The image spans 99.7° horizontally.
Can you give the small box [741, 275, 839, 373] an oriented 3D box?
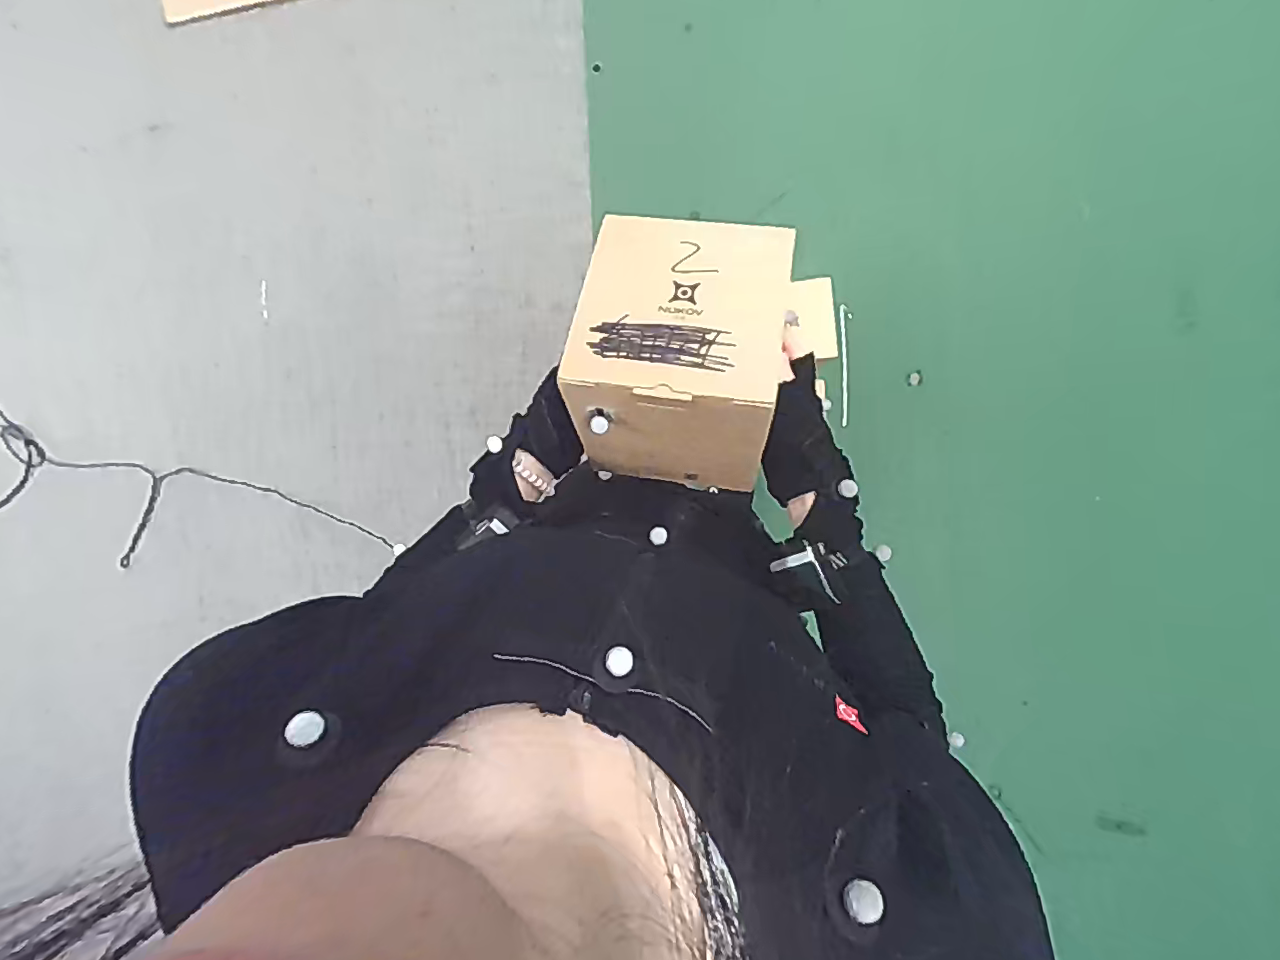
[{"bbox_3d":[0.325,-0.336,1.195,0.179,0.176,0.168,-6,92,7],"label":"small box"}]
